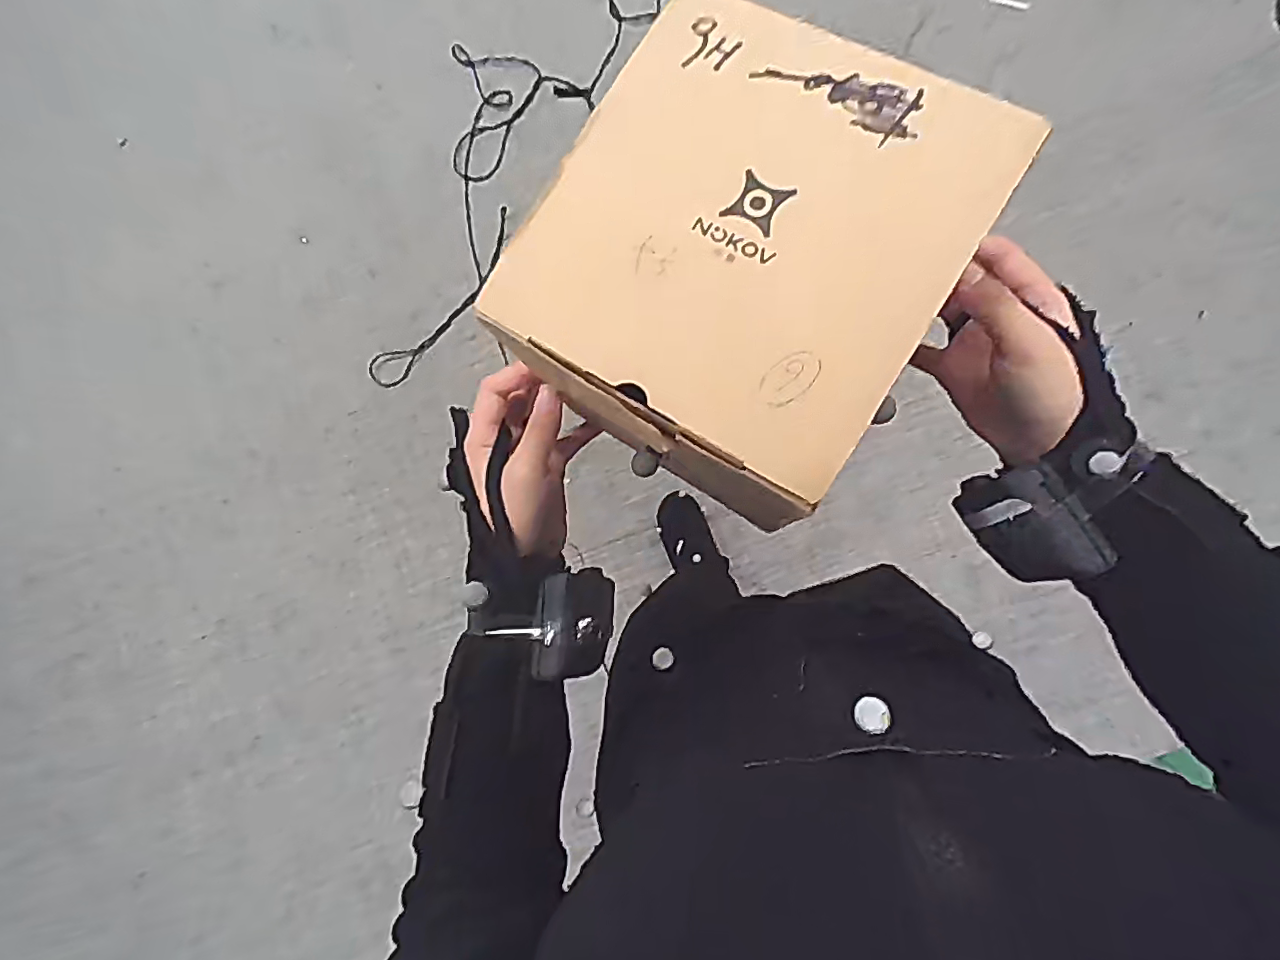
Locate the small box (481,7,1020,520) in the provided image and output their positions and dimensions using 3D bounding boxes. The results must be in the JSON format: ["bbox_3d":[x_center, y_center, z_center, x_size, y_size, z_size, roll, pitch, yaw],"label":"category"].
[{"bbox_3d":[0.052,-0.090,0.305,0.168,0.176,0.179,32,89,11],"label":"small box"}]
